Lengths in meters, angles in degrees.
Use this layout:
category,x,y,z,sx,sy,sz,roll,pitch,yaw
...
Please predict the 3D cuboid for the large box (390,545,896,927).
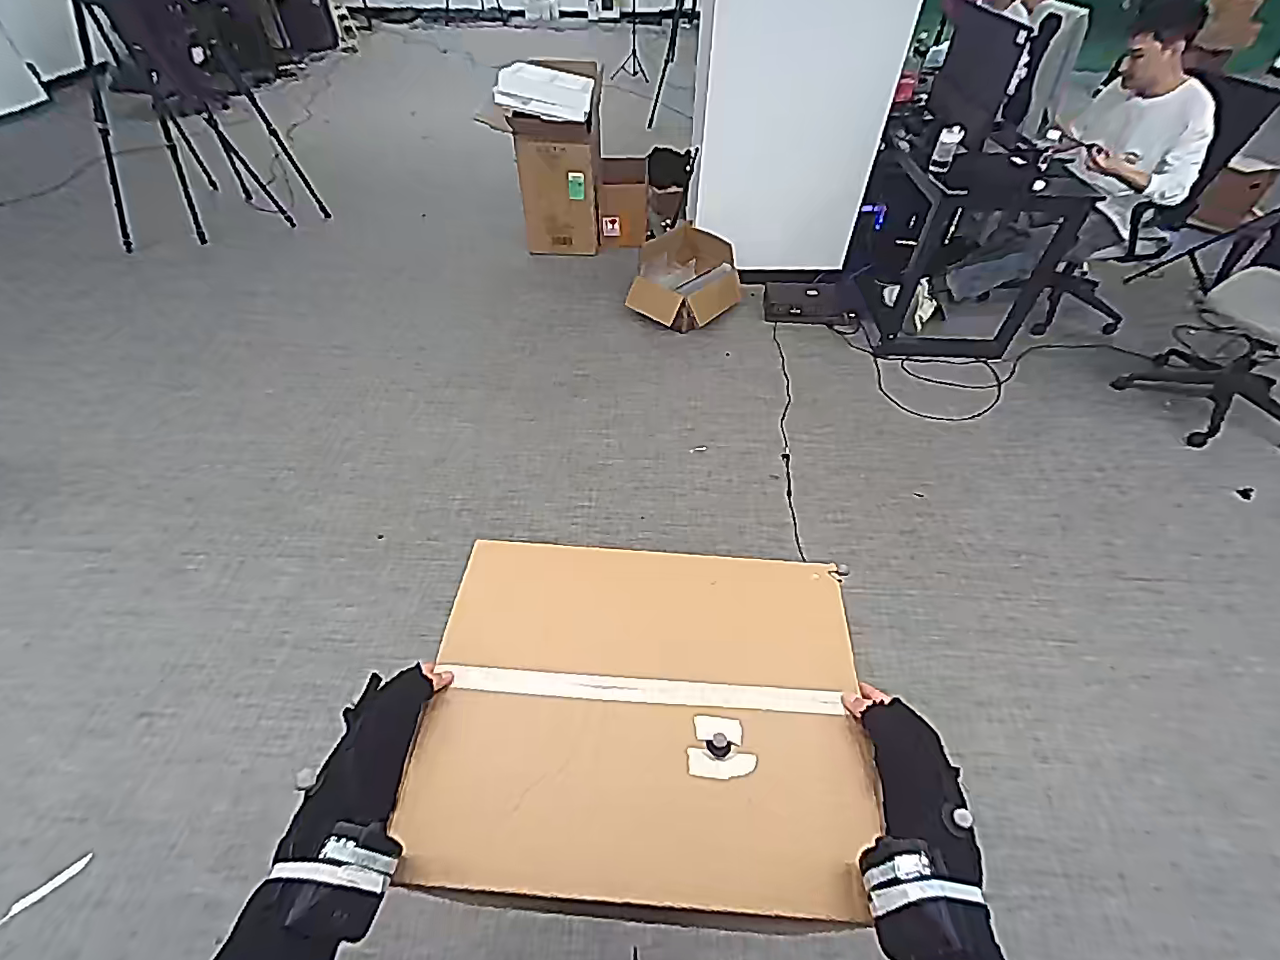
category,x,y,z,sx,sy,sz,roll,pitch,yaw
large box,0.003,0.299,0.625,0.408,0.320,0.320,4,49,1
